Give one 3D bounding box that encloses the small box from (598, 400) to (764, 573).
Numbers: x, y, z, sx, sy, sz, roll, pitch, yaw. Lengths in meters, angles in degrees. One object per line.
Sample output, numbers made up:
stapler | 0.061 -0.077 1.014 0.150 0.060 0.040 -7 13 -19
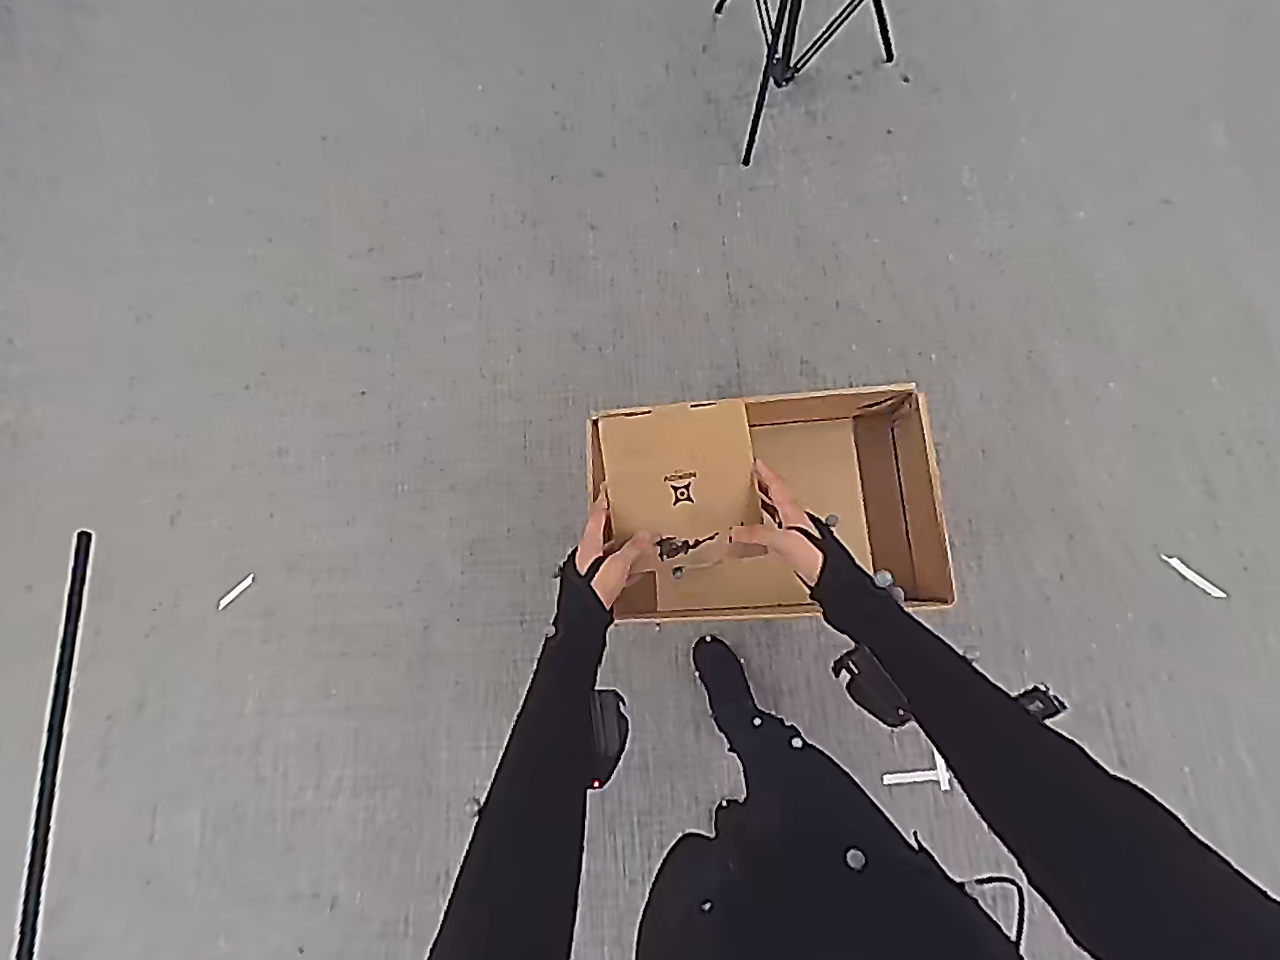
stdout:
small box | 0.044 0.015 0.670 0.168 0.176 0.179 -8 84 1
